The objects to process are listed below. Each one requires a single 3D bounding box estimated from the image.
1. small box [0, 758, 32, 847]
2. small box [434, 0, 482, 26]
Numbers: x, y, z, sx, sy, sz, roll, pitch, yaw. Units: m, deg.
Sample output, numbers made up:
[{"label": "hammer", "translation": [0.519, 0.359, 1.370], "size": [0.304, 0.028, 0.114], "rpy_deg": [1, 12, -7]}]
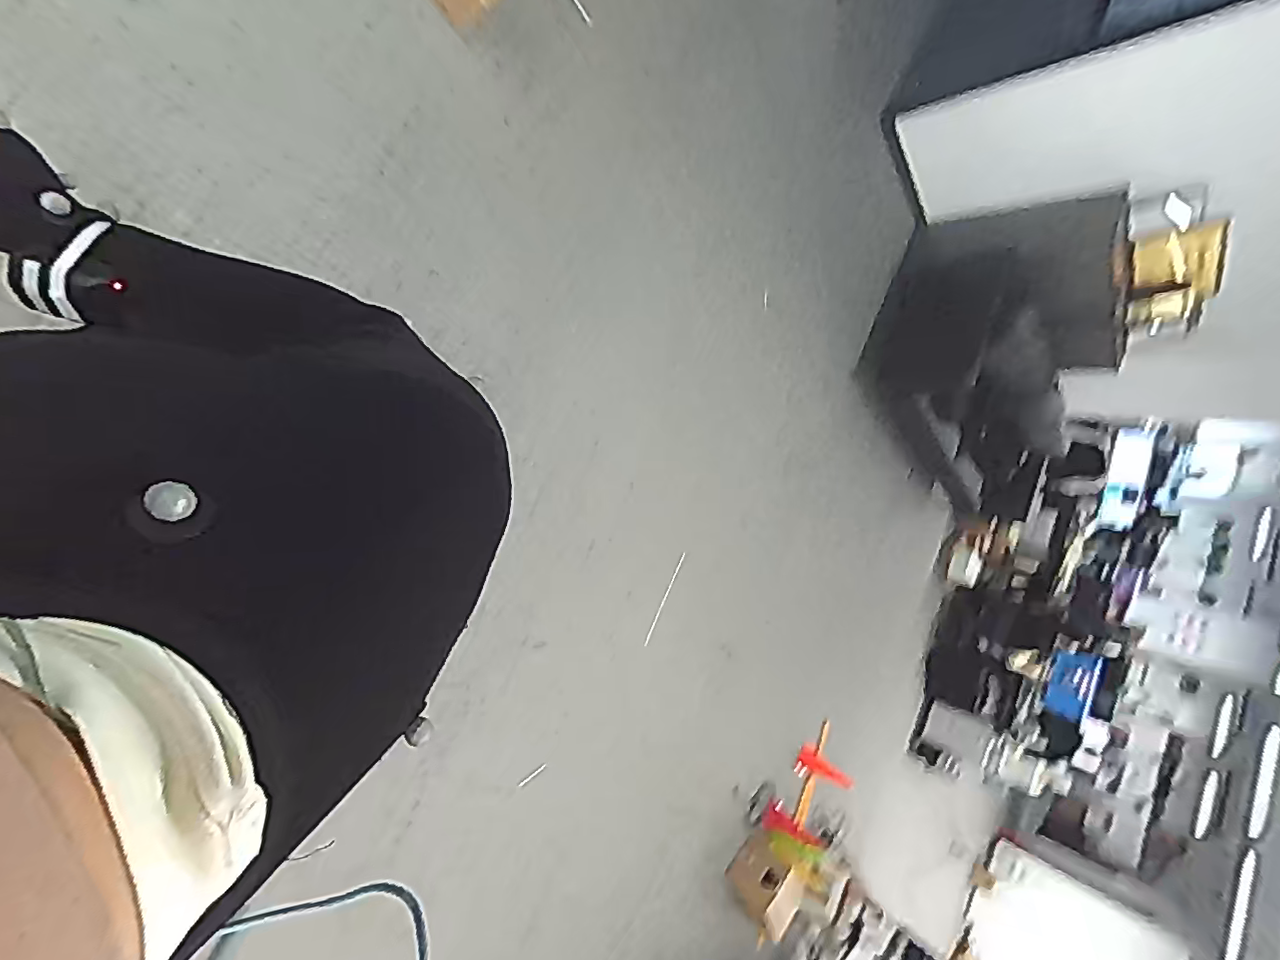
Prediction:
[{"label": "small box", "translation": [-1.212, 0.594, 0.931], "size": [0.168, 0.176, 0.179], "rpy_deg": [38, 72, -42]}, {"label": "small box", "translation": [-0.483, -1.379, 1.447], "size": [0.168, 0.176, 0.179], "rpy_deg": [42, 69, -41]}]
